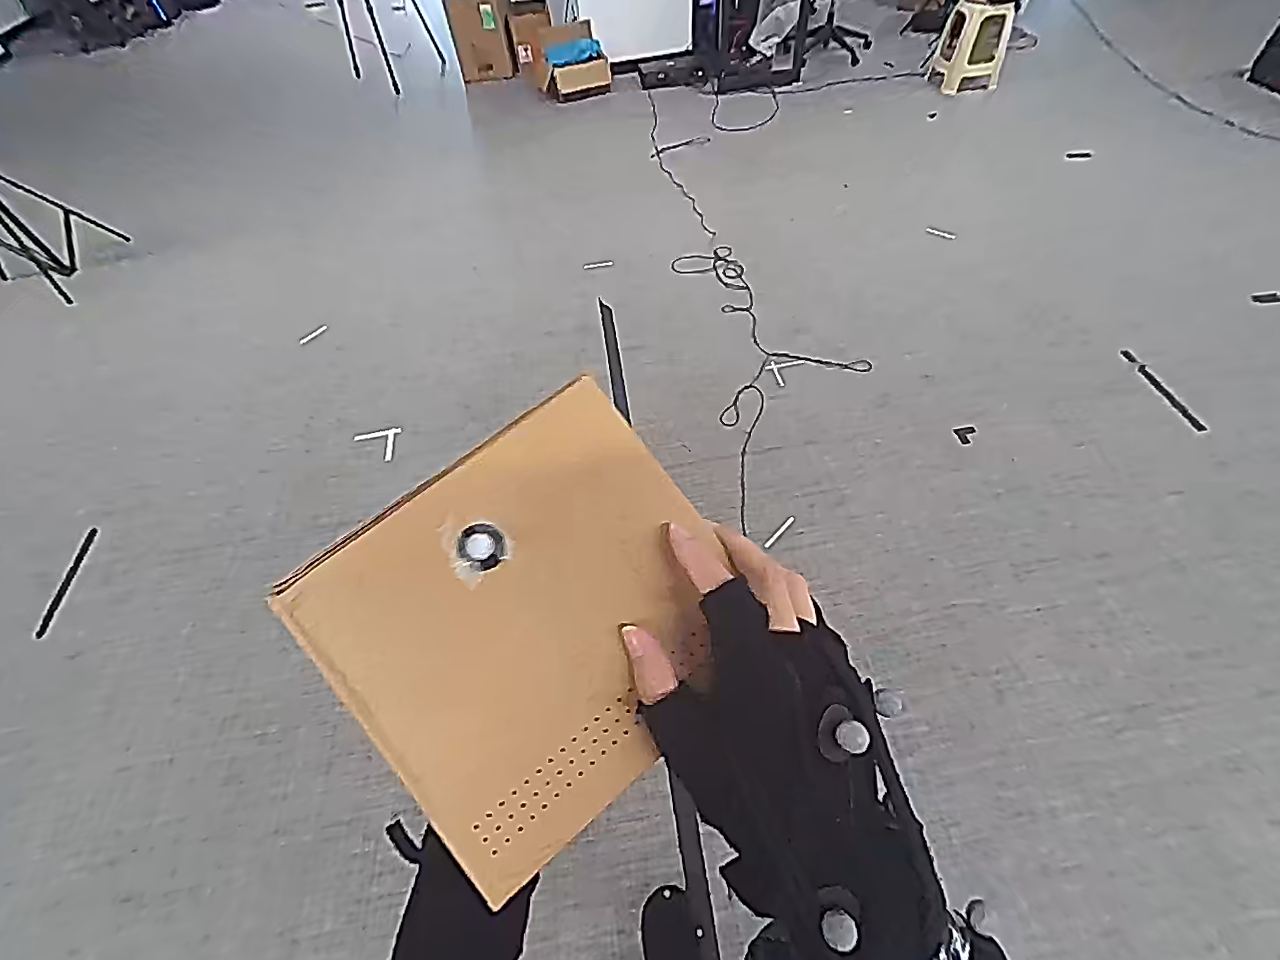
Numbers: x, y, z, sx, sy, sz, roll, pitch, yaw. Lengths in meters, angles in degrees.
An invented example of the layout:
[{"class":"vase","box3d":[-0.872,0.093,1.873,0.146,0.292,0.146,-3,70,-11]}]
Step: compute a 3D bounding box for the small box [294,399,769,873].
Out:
[{"class":"small box","box3d":[-0.054,0.086,0.339,0.179,0.168,0.176,-38,87,-12]}]
